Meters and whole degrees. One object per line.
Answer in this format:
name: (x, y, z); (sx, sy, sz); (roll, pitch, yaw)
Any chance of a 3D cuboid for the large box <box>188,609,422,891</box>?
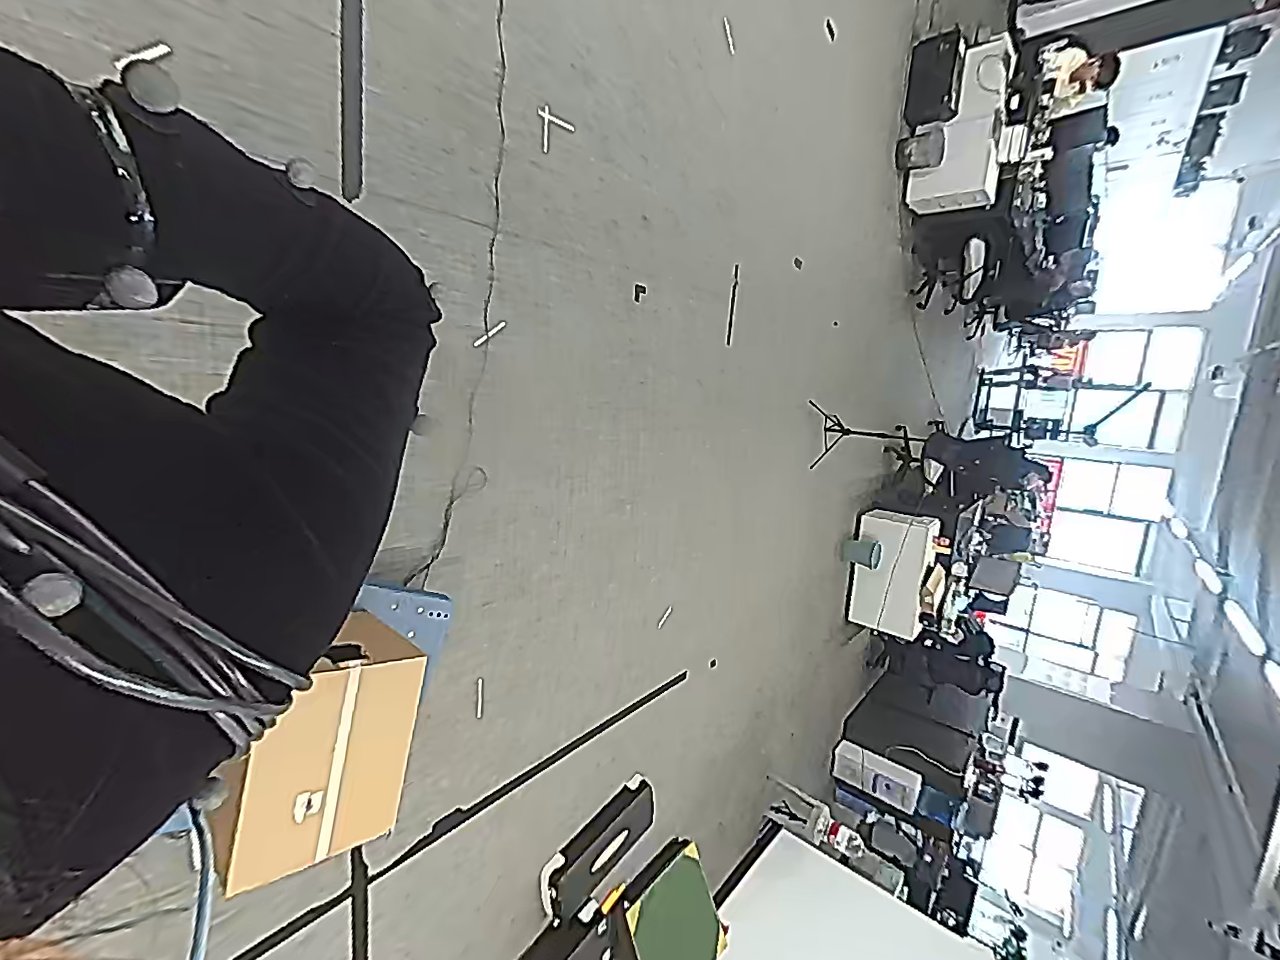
large box: (-0.719, 0.529, 1.163); (0.320, 0.320, 0.408); (10, 93, -50)
